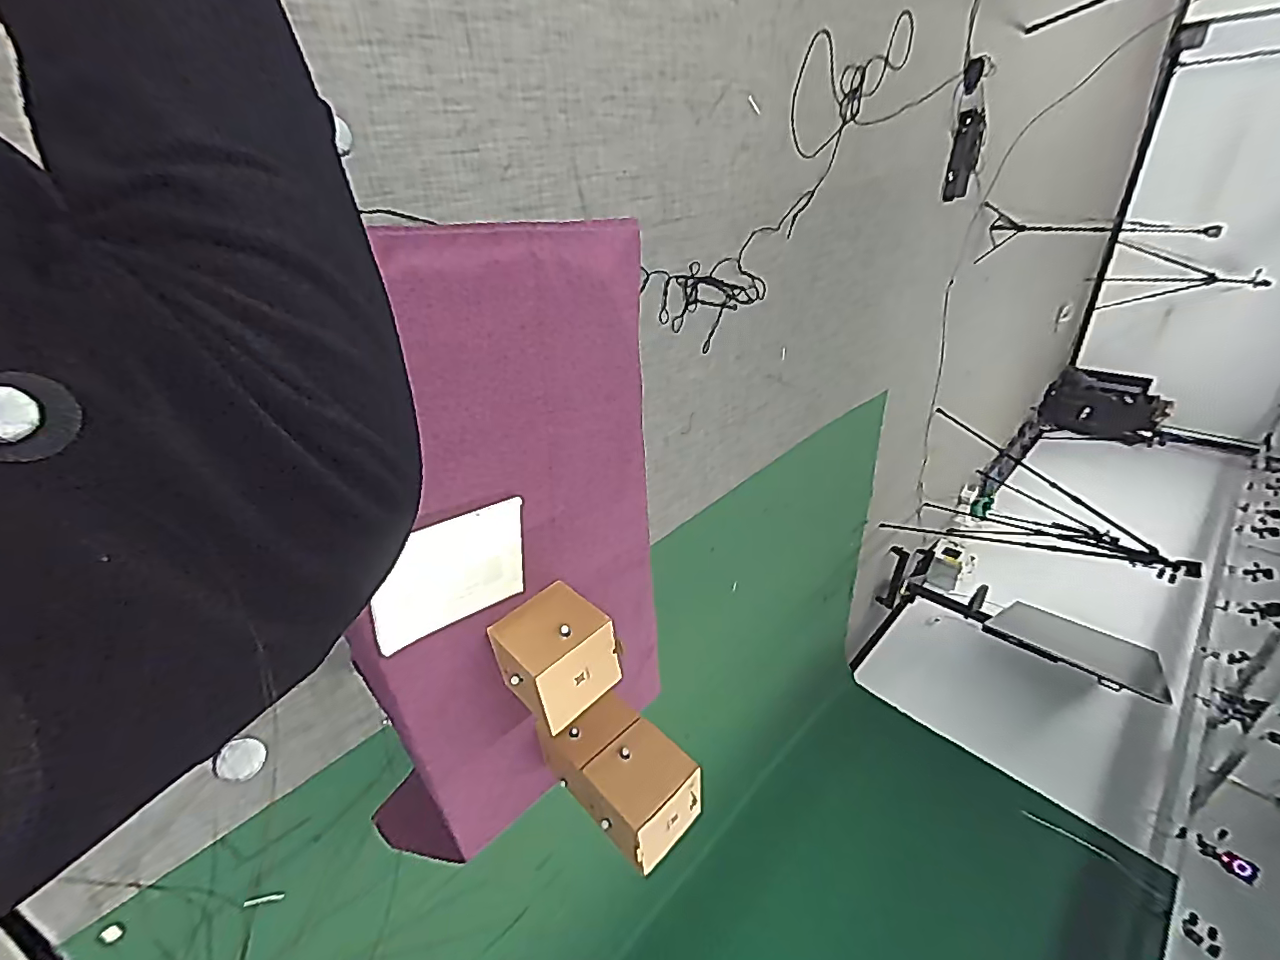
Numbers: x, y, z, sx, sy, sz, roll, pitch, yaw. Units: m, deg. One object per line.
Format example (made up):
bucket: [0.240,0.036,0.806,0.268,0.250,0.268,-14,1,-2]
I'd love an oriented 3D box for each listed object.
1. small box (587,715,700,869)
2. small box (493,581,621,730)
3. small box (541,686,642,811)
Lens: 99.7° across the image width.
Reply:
small box: [0.004,0.633,1.116,0.179,0.176,0.168,-28,128,-35]
small box: [-0.164,0.328,1.041,0.179,0.176,0.168,-32,129,-34]
small box: [-0.109,0.586,1.225,0.179,0.176,0.168,-29,128,-36]
